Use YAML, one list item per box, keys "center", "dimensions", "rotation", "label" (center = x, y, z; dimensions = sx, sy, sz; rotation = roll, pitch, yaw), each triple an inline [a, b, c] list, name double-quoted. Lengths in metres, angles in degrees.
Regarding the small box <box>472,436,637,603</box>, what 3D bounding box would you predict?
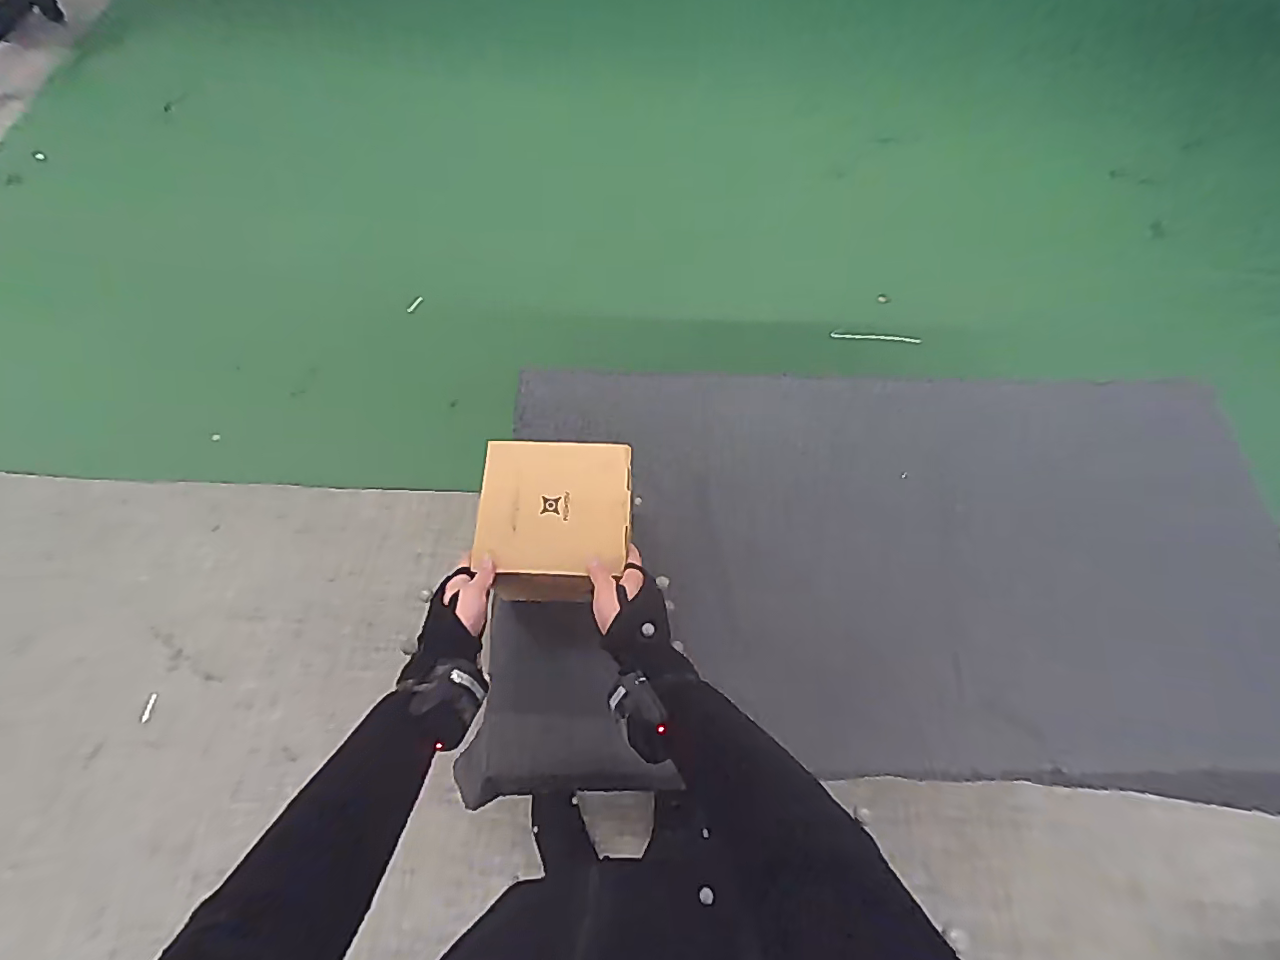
- center: [-0.096, 0.058, 0.692]
  dimensions: [0.179, 0.176, 0.168]
  rotation: [2, 66, 0]
  label: "small box"
